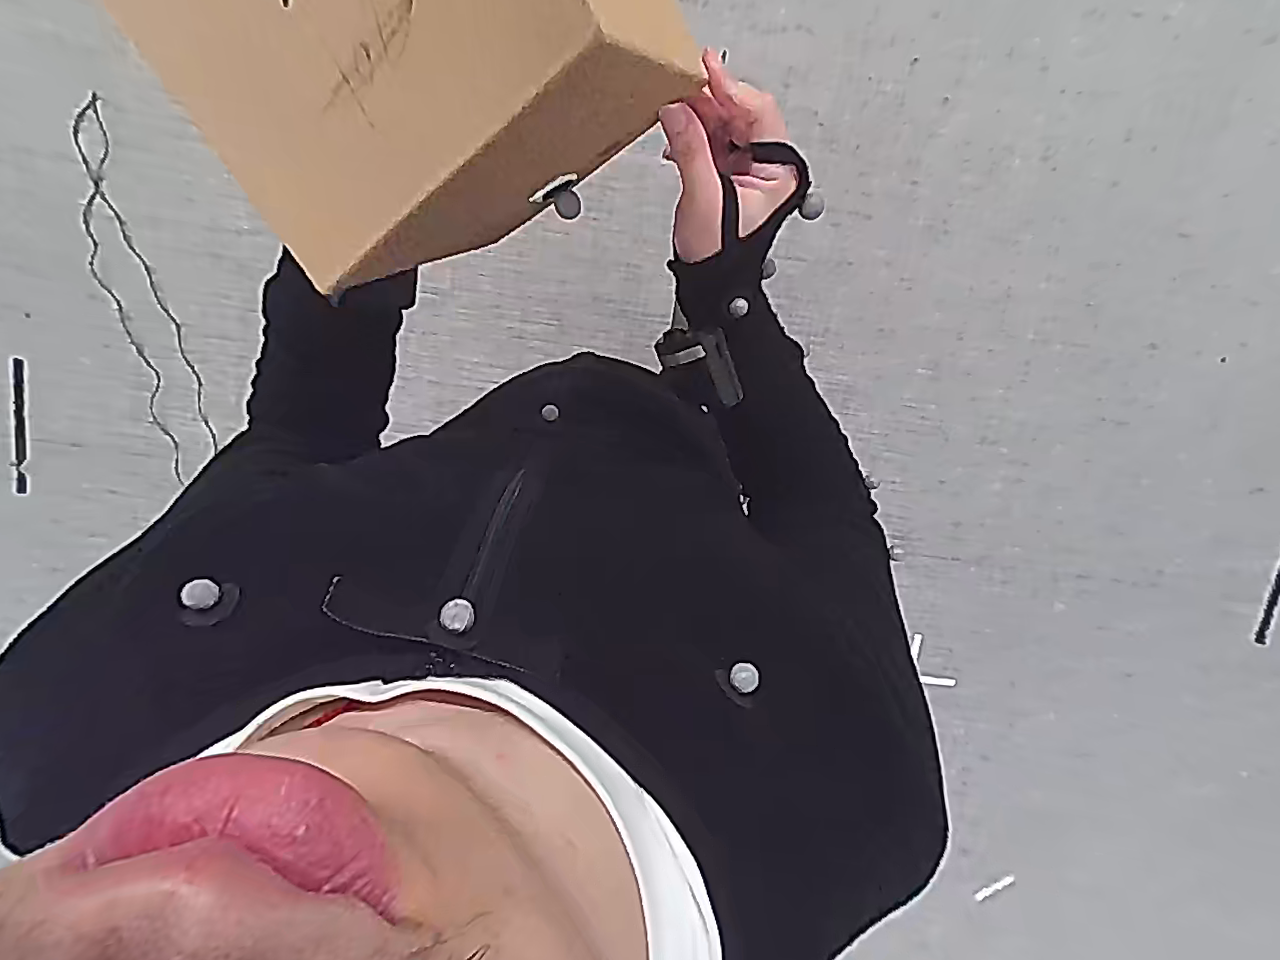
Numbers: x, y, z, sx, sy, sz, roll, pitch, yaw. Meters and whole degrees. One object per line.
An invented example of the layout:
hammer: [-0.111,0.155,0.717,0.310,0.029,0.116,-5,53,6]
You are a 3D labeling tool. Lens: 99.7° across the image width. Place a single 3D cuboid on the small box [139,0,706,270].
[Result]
small box: [-0.090,-0.228,0.250,0.168,0.176,0.179,-21,111,30]
